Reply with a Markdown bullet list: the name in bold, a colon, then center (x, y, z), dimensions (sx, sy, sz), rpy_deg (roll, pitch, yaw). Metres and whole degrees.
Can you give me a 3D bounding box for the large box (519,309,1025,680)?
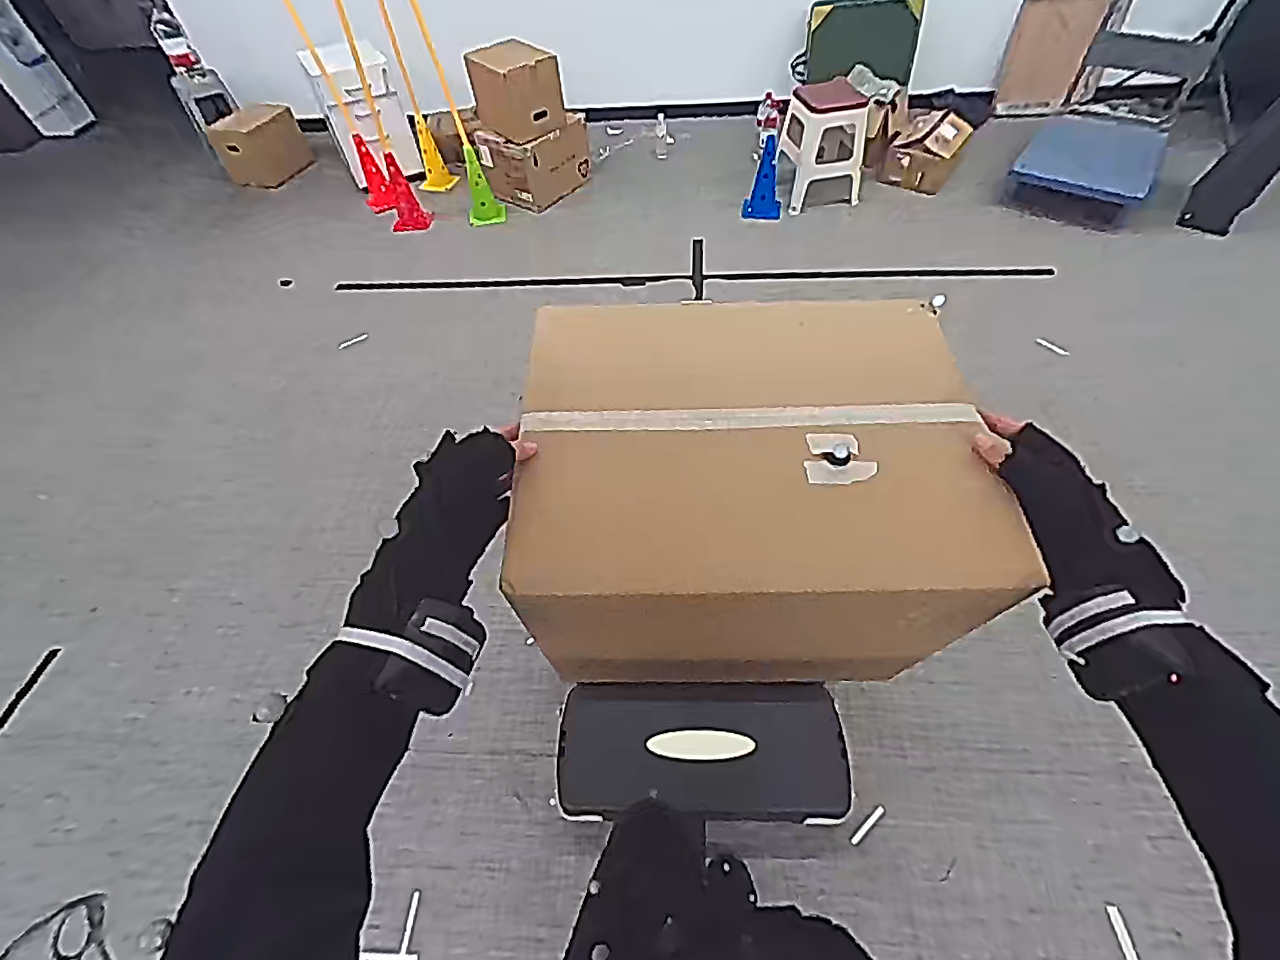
- **large box**: center (0.099, 0.032, 0.620), dimensions (0.408, 0.320, 0.320), rpy_deg (-1, 59, 0)
